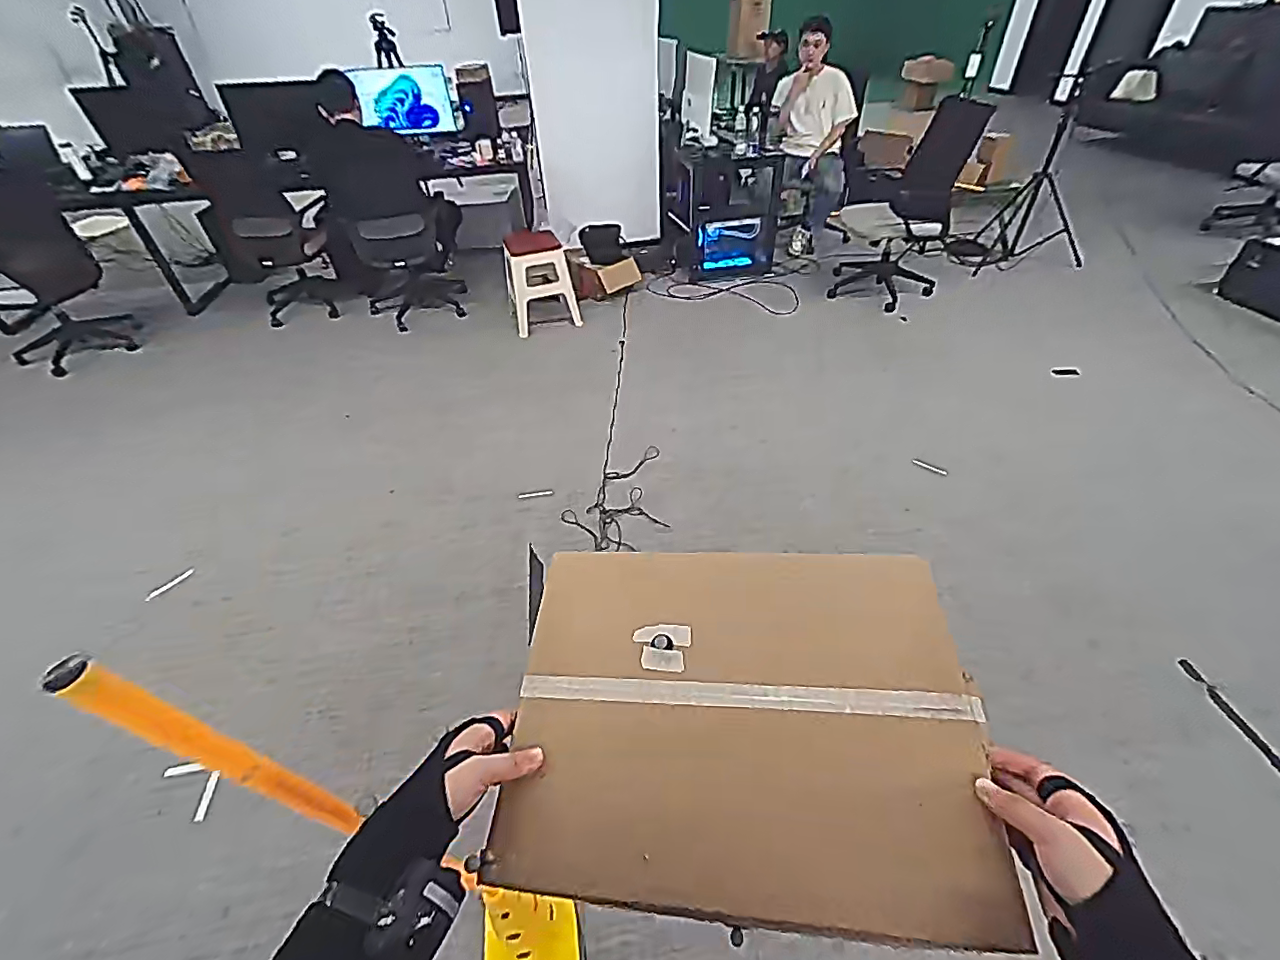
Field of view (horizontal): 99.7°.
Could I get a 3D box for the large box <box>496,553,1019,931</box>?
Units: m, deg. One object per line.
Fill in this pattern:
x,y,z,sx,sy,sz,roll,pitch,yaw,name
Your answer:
0.113,0.299,0.618,0.408,0.320,0.320,-2,49,11,large box
